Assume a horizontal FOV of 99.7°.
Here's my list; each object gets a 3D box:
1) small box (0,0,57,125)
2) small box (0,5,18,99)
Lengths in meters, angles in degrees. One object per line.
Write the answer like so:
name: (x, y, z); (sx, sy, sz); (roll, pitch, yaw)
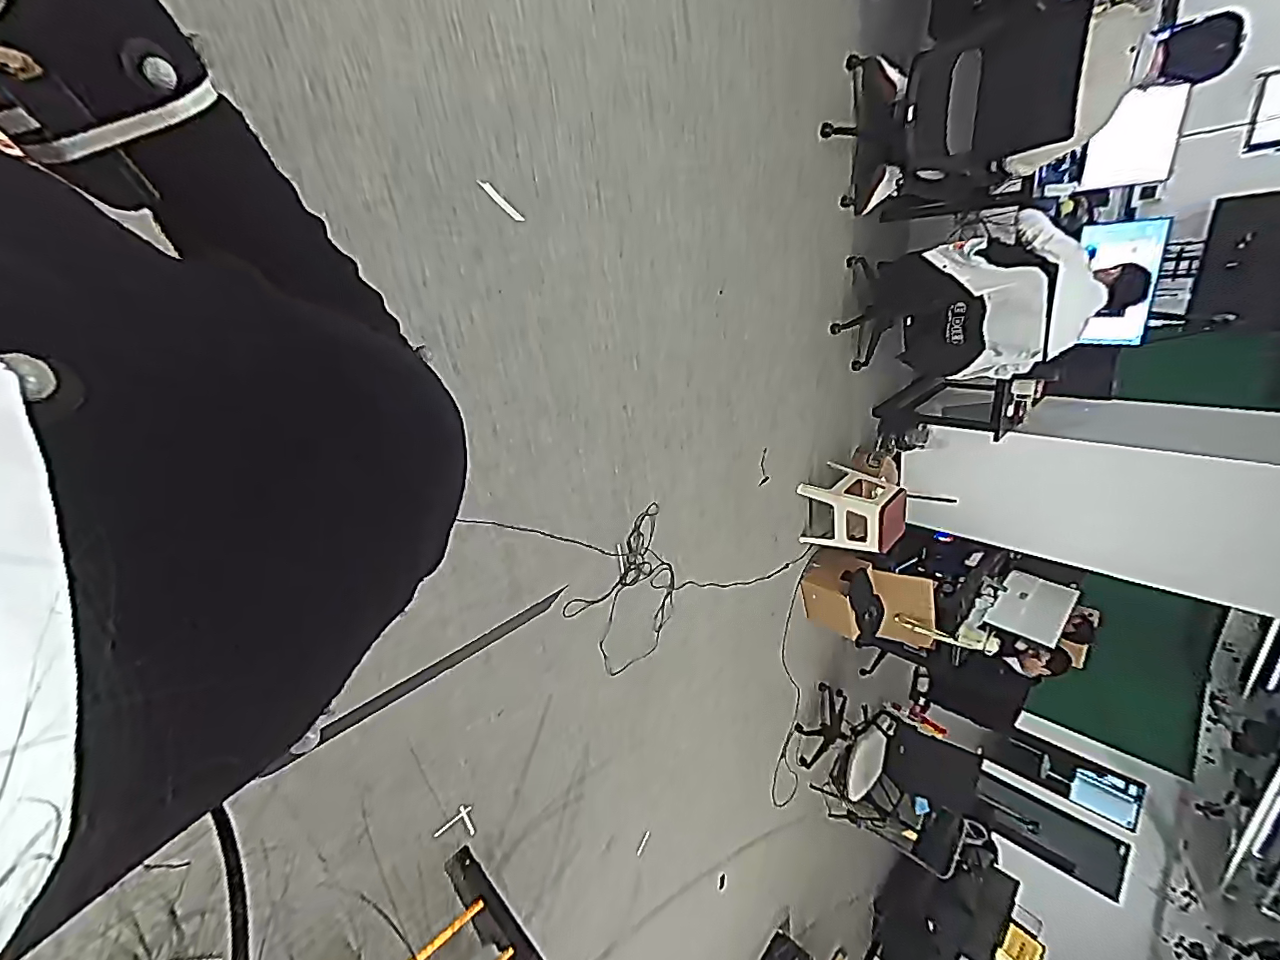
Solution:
small box: (-0.732, -0.467, 0.531); (0.179, 0.176, 0.168); (-25, 119, -40)
small box: (-0.626, -0.424, 0.410); (0.168, 0.176, 0.179); (-21, 118, -42)
